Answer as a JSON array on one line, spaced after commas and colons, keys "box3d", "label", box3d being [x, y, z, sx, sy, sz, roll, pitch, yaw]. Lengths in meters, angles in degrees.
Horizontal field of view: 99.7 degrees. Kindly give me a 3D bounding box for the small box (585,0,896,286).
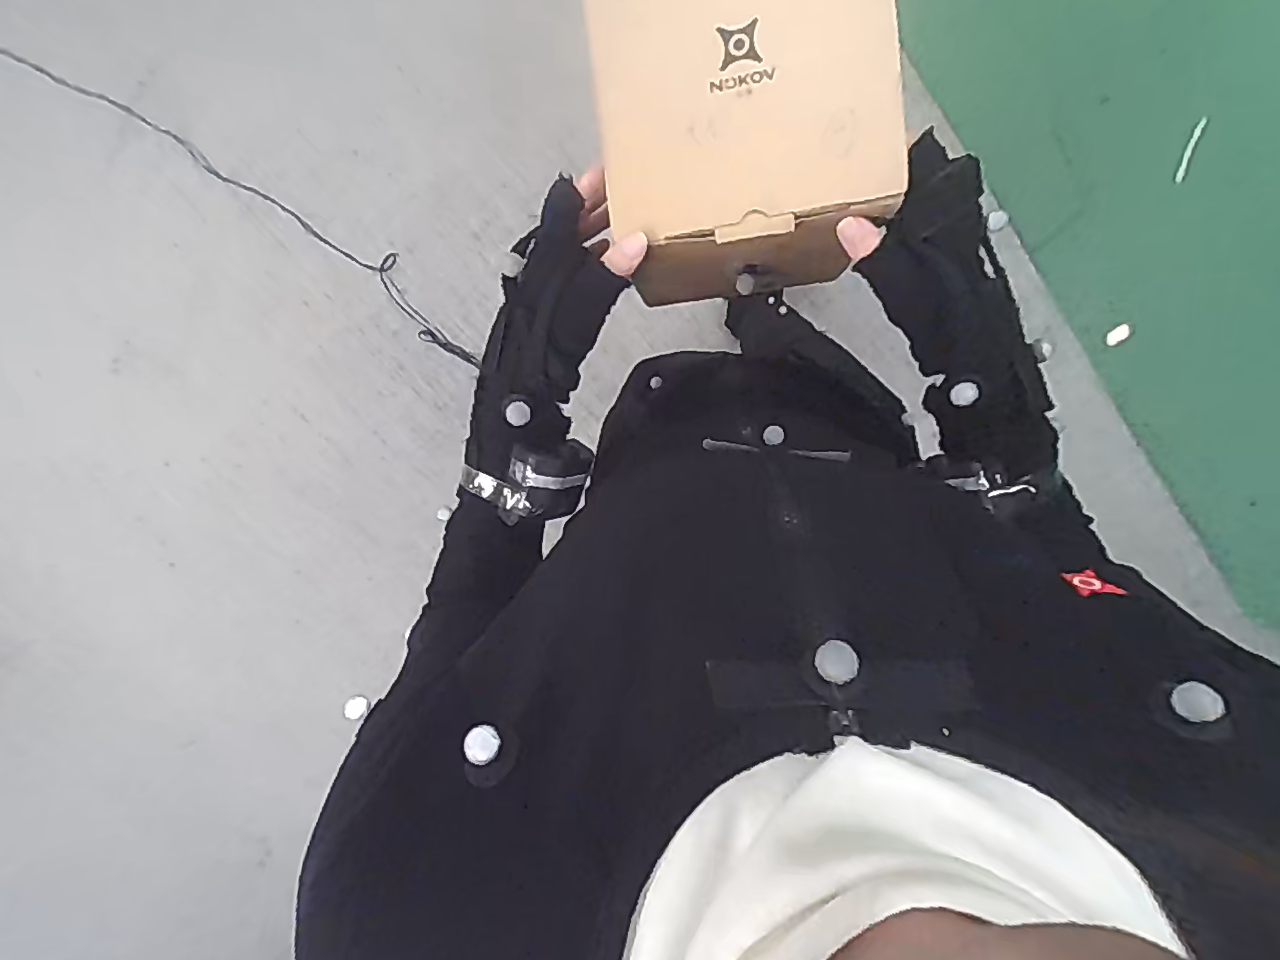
[{"box3d": [0.066, -0.248, 0.385, 0.168, 0.176, 0.179, -7, 96, 9], "label": "small box"}]
